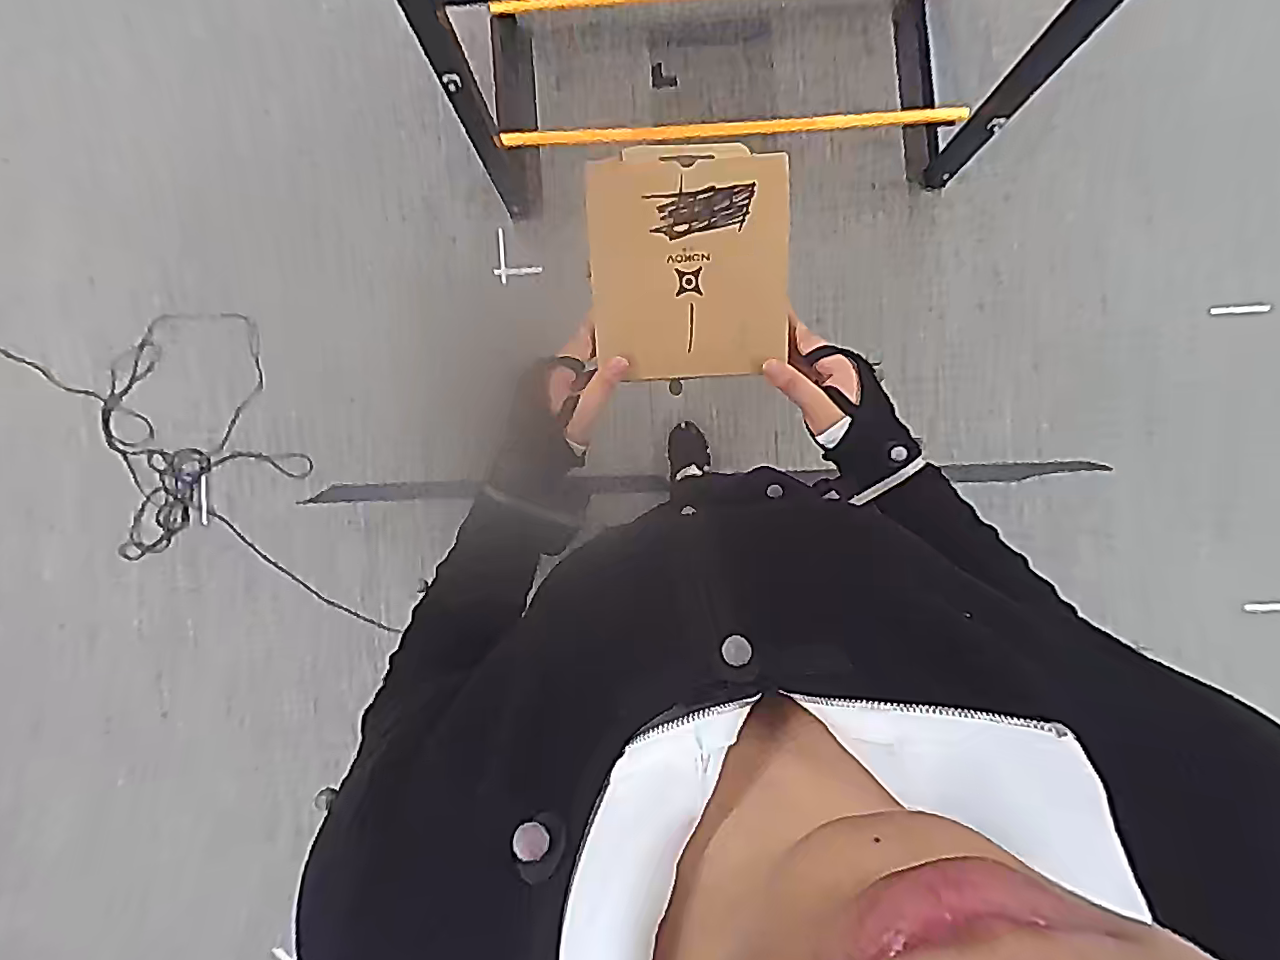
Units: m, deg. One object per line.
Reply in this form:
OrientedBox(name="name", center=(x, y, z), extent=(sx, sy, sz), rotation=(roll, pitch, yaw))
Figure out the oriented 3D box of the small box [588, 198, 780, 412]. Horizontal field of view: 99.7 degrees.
OrientedBox(name="small box", center=(0.036, -0.162, 0.544), extent=(0.168, 0.176, 0.179), rotation=(-3, 101, -1))
